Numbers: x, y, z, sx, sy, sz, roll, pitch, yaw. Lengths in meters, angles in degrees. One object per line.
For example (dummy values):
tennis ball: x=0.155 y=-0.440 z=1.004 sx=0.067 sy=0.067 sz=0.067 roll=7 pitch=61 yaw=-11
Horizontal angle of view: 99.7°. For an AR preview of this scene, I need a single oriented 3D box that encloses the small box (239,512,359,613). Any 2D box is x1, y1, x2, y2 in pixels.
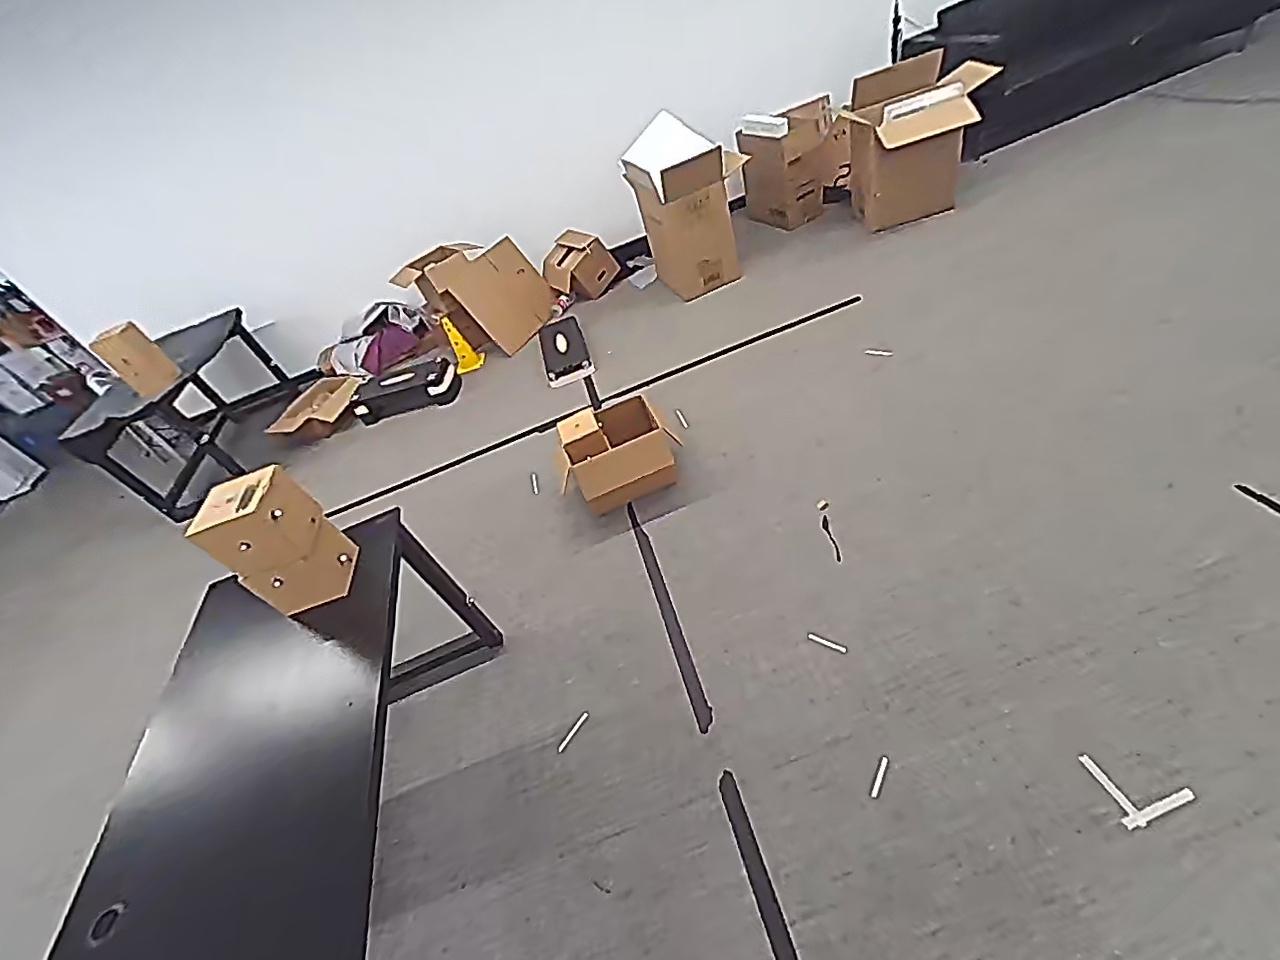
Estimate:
small box: x=-0.872 y=0.218 z=1.401 sx=0.179 sy=0.176 sz=0.168 roll=-19 pitch=43 yaw=3
